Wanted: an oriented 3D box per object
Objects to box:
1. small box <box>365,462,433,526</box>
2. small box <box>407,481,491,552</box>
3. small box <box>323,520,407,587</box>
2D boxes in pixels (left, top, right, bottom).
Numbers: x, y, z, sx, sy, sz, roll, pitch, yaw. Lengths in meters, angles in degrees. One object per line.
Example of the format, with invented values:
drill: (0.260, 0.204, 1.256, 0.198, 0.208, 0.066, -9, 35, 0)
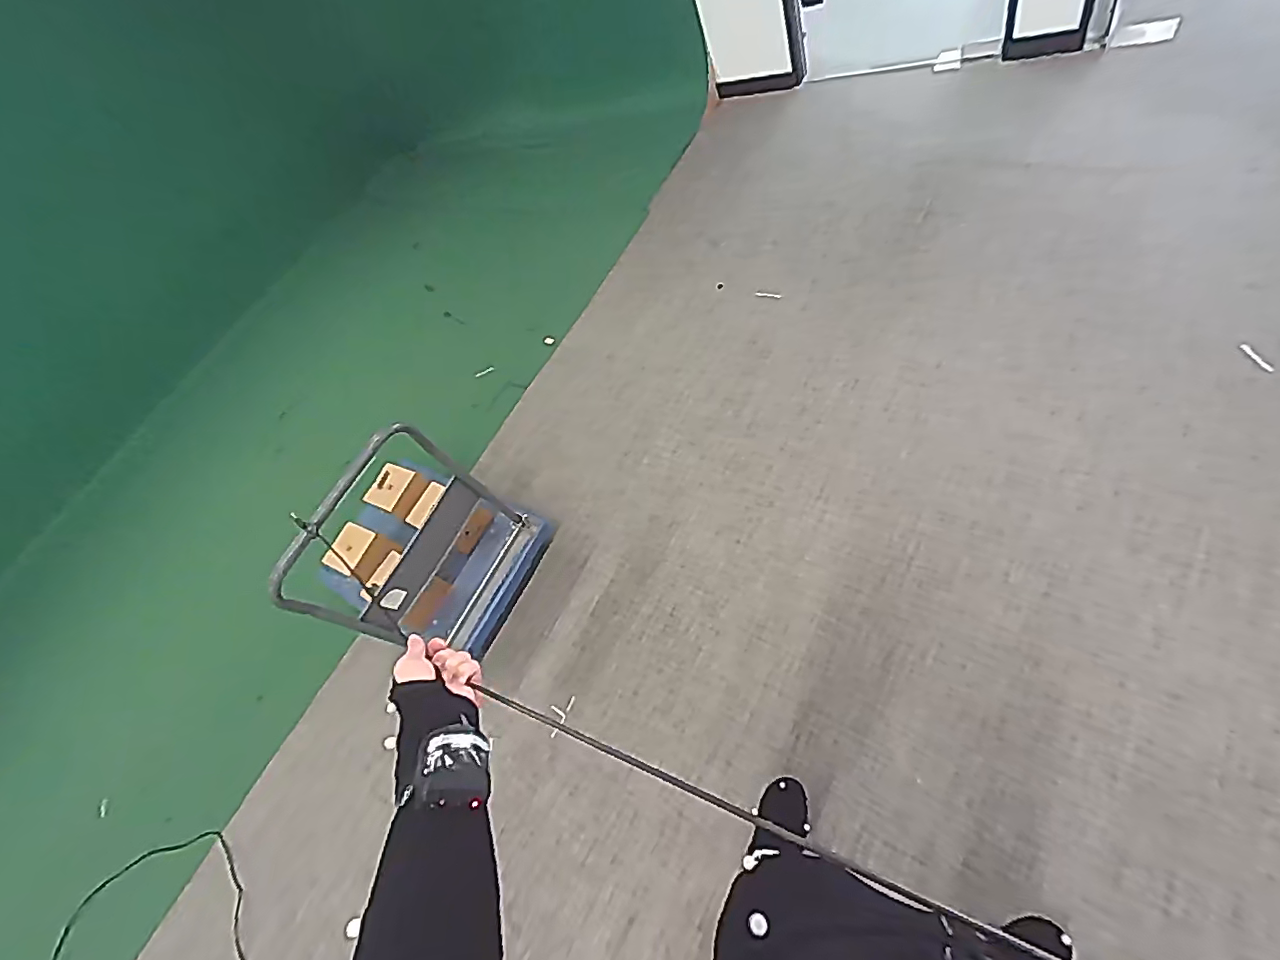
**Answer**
small box: (-0.878, 0.057, 2.028, 0.179, 0.176, 0.168, 15, 69, 30)
small box: (-0.662, 0.130, 1.884, 0.179, 0.176, 0.168, 20, 71, 32)
small box: (-0.982, 0.271, 1.948, 0.179, 0.176, 0.168, 15, 68, 31)
